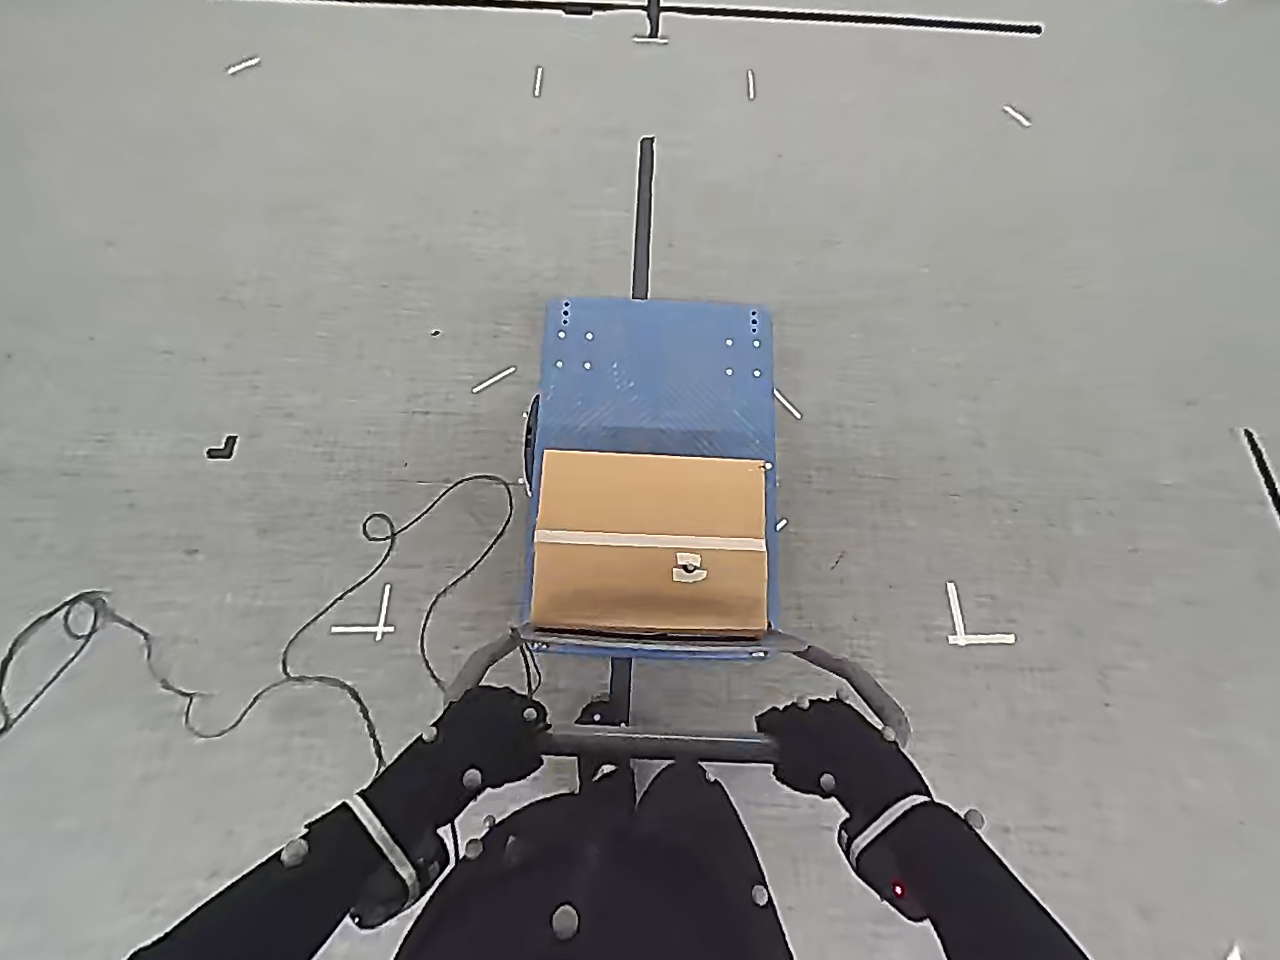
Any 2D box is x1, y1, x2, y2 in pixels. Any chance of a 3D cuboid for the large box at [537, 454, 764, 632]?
[{"bbox_3d":[0.015,0.144,1.116,0.408,0.320,0.320,3,77,-2],"label":"large box"}]
